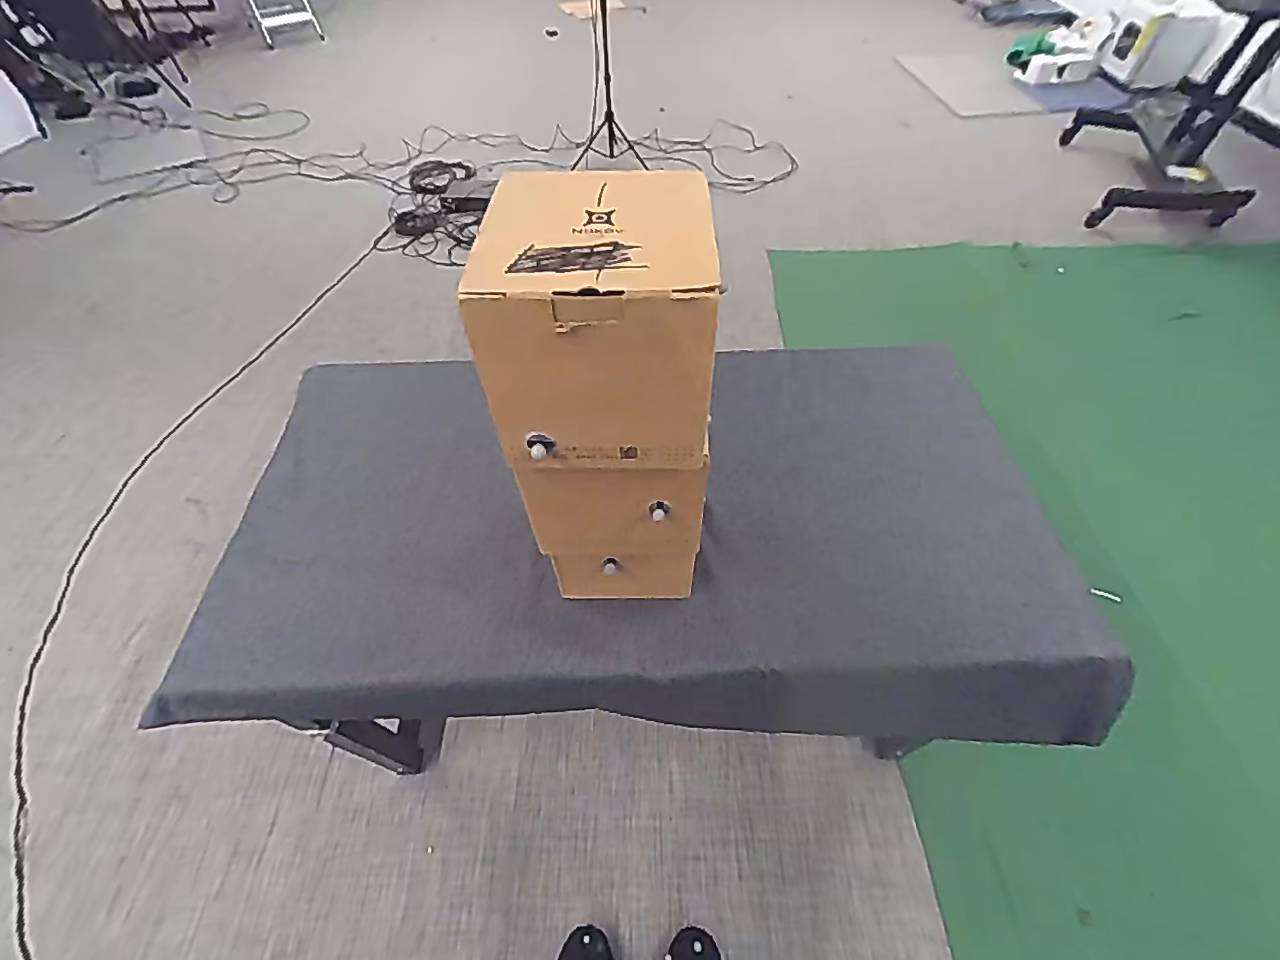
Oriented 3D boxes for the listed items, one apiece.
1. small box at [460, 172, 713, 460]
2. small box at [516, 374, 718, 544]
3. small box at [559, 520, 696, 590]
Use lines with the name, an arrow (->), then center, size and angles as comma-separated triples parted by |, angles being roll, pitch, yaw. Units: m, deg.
small box -> -0.030, -0.131, 0.452 | 0.168, 0.176, 0.179 | 1, 52, 1
small box -> -0.023, -0.045, 0.572 | 0.179, 0.176, 0.168 | -3, 53, -2
small box -> -0.021, 0.040, 0.734 | 0.179, 0.176, 0.168 | -2, 52, -1
